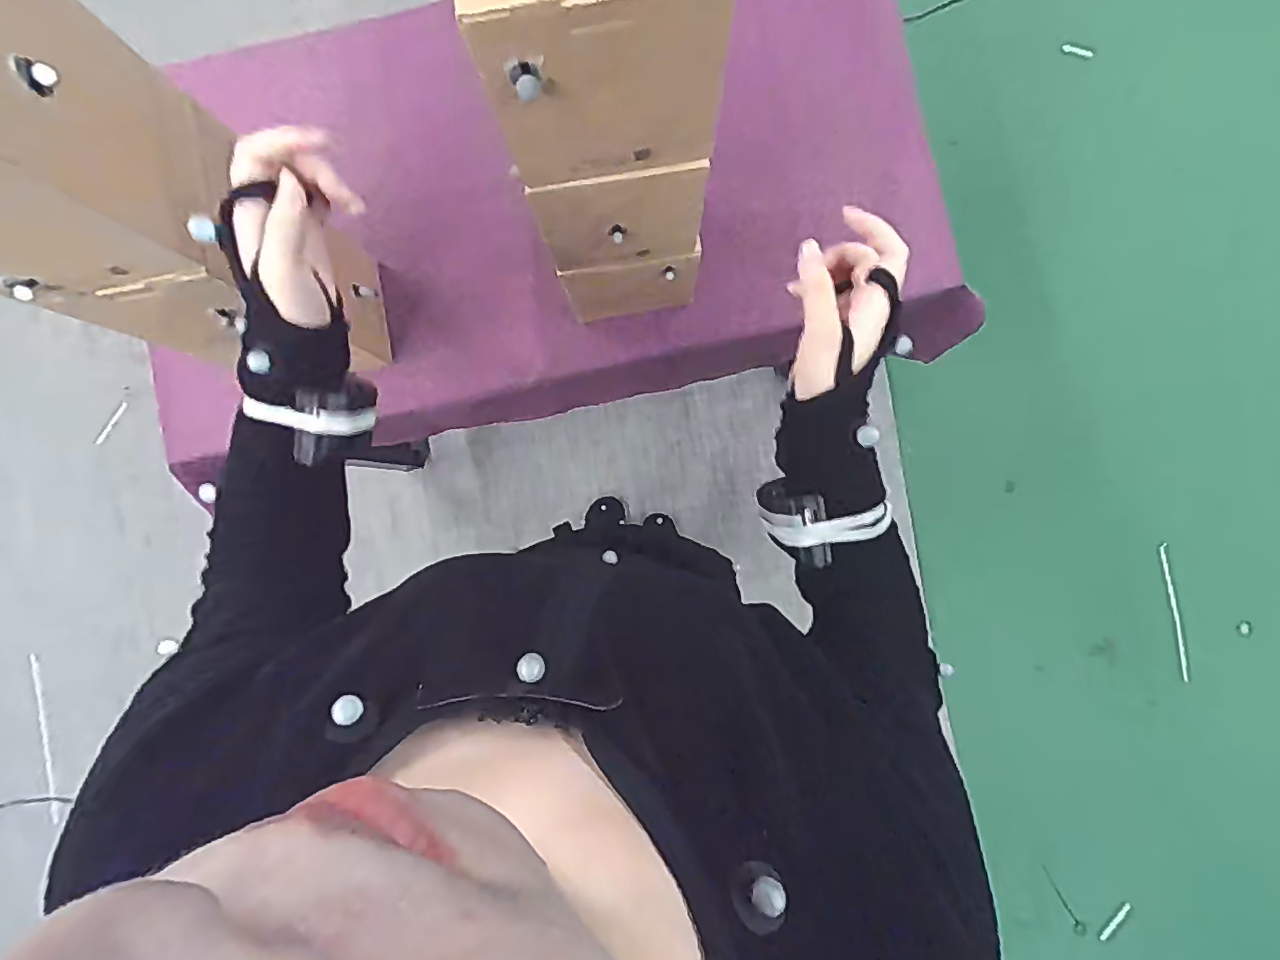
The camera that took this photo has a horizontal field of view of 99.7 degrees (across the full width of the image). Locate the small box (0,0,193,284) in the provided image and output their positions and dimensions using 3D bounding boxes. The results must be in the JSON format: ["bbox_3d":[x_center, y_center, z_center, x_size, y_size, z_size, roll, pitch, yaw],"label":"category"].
[{"bbox_3d":[-0.483,-0.265,0.403,0.168,0.176,0.179,-11,87,0],"label":"small box"}]

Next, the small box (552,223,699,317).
[{"bbox_3d":[-0.023,-0.331,0.721,0.179,0.176,0.168,-9,88,1],"label":"small box"}]

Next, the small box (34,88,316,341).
[{"bbox_3d":[-0.472,-0.255,0.567,0.168,0.176,0.179,-8,87,1],"label":"small box"}]

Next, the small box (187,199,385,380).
[{"bbox_3d":[-0.467,-0.244,0.730,0.179,0.176,0.168,-10,87,1],"label":"small box"}]

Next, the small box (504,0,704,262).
[{"bbox_3d":[-0.029,-0.343,0.557,0.168,0.176,0.179,-7,88,1],"label":"small box"}]
